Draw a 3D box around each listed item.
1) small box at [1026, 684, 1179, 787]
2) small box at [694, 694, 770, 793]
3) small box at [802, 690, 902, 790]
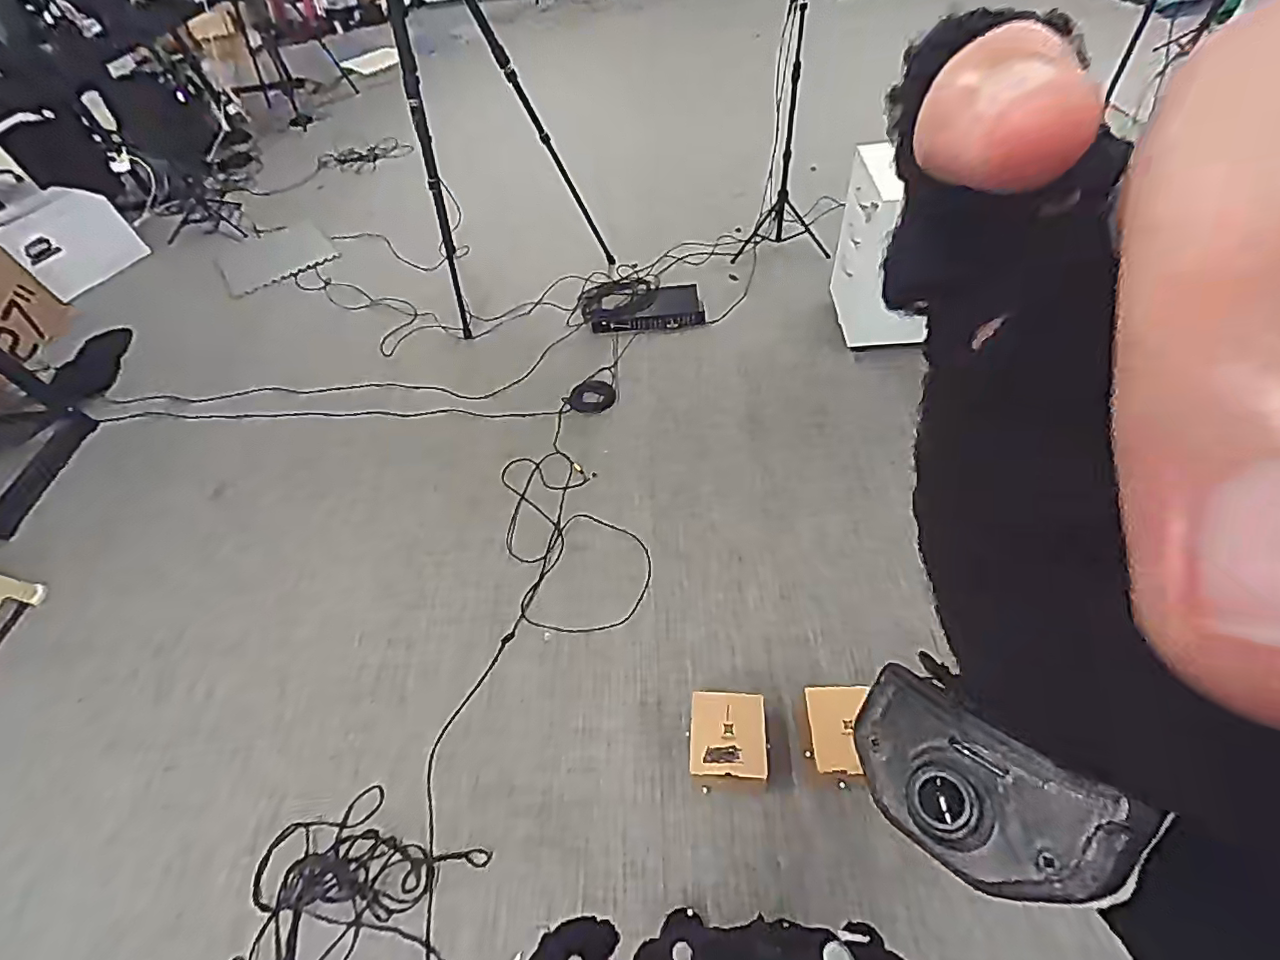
[{"bbox_3d":[1.001,0.566,1.195,0.168,0.176,0.179,-4,53,6],"label":"small box"},{"bbox_3d":[0.215,0.619,1.264,0.168,0.176,0.179,0,52,9],"label":"small box"},{"bbox_3d":[0.475,0.599,1.244,0.168,0.176,0.179,-4,52,6],"label":"small box"}]
